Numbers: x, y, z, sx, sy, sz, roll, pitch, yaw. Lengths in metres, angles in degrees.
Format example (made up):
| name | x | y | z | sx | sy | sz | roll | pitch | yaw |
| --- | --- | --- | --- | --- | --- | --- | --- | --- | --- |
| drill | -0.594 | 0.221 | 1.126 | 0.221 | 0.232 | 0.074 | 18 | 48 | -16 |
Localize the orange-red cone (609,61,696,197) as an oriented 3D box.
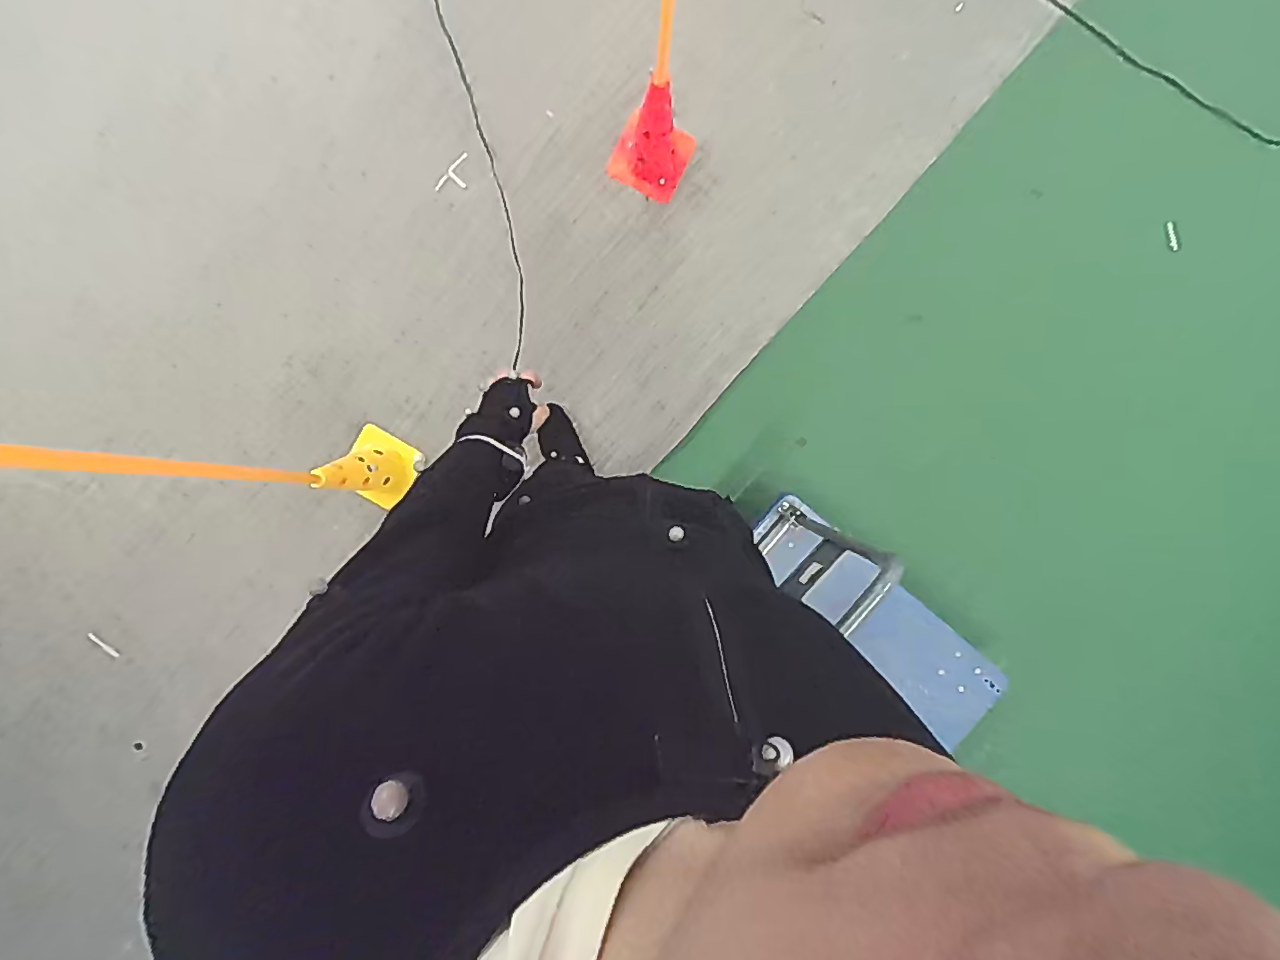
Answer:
| name | x | y | z | sx | sy | sz | roll | pitch | yaw |
| --- | --- | --- | --- | --- | --- | --- | --- | --- | --- |
| orange-red cone | 0.044 | -0.905 | 1.340 | 0.198 | 0.360 | 0.199 | 27 | 93 | -6 |
